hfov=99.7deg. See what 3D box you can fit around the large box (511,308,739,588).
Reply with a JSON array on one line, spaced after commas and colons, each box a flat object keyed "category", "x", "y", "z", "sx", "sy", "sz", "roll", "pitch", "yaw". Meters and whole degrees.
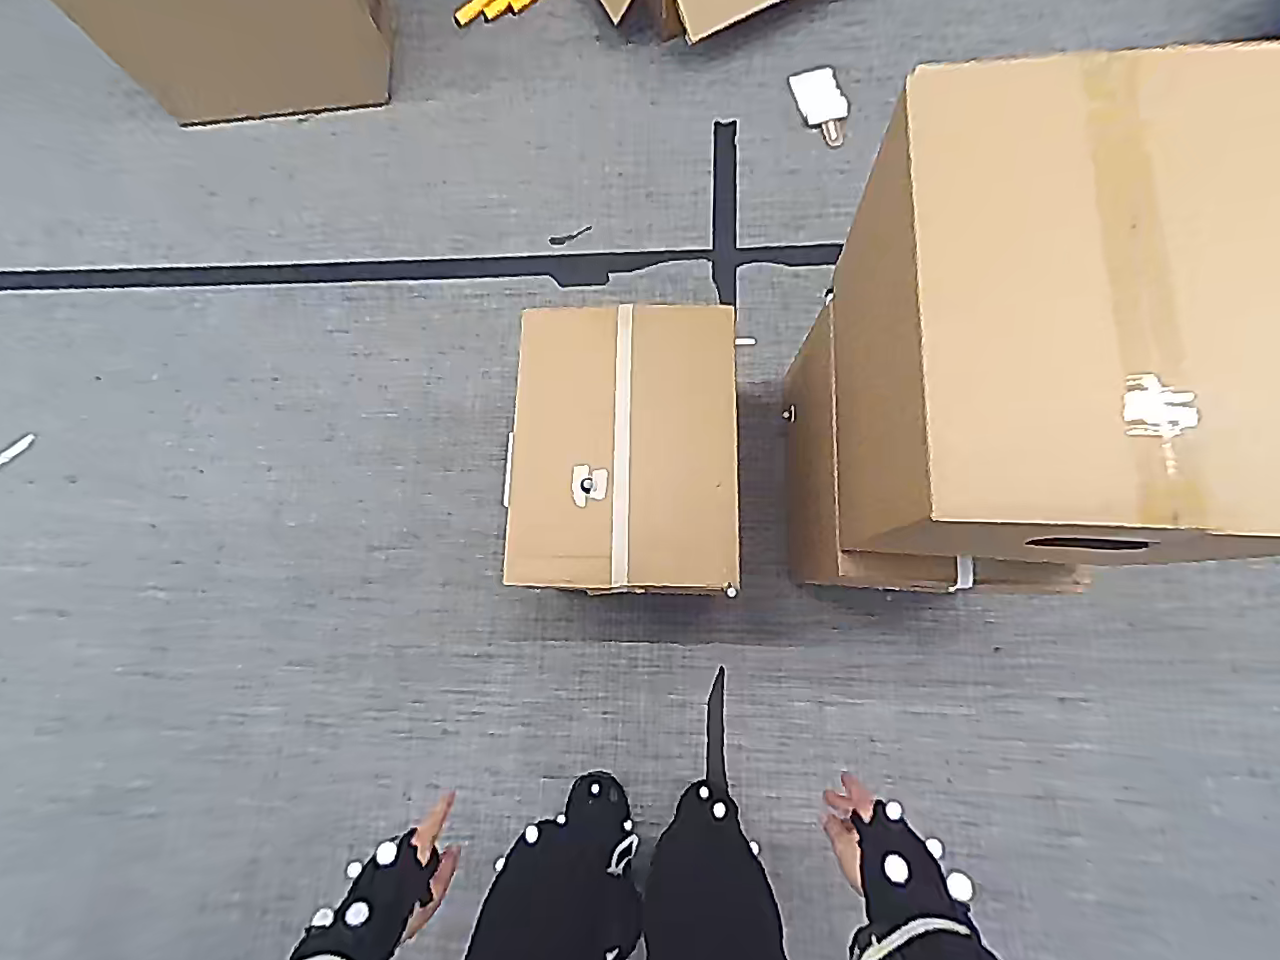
[{"category": "large box", "x": -0.017, "y": -0.027, "z": 0.903, "sx": 0.320, "sy": 0.320, "sz": 0.408, "roll": -1, "pitch": 78, "yaw": 4}]
